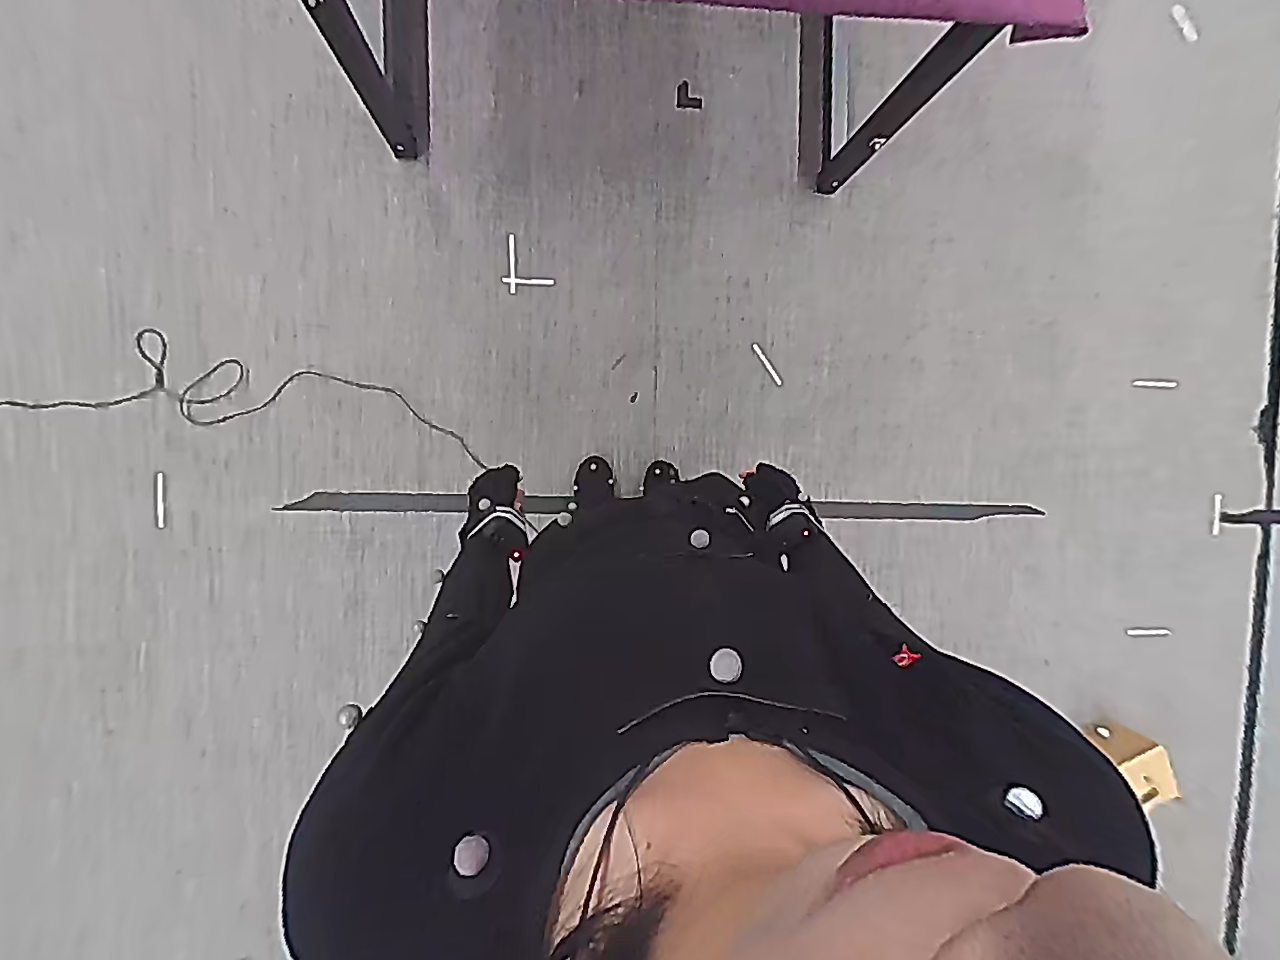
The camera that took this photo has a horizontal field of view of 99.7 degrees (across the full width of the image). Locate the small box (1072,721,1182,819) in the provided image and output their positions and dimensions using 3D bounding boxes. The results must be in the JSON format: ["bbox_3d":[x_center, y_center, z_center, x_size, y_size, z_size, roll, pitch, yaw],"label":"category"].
[{"bbox_3d":[1.497,0.888,1.671,0.168,0.176,0.179,-22,95,-6],"label":"small box"}]
